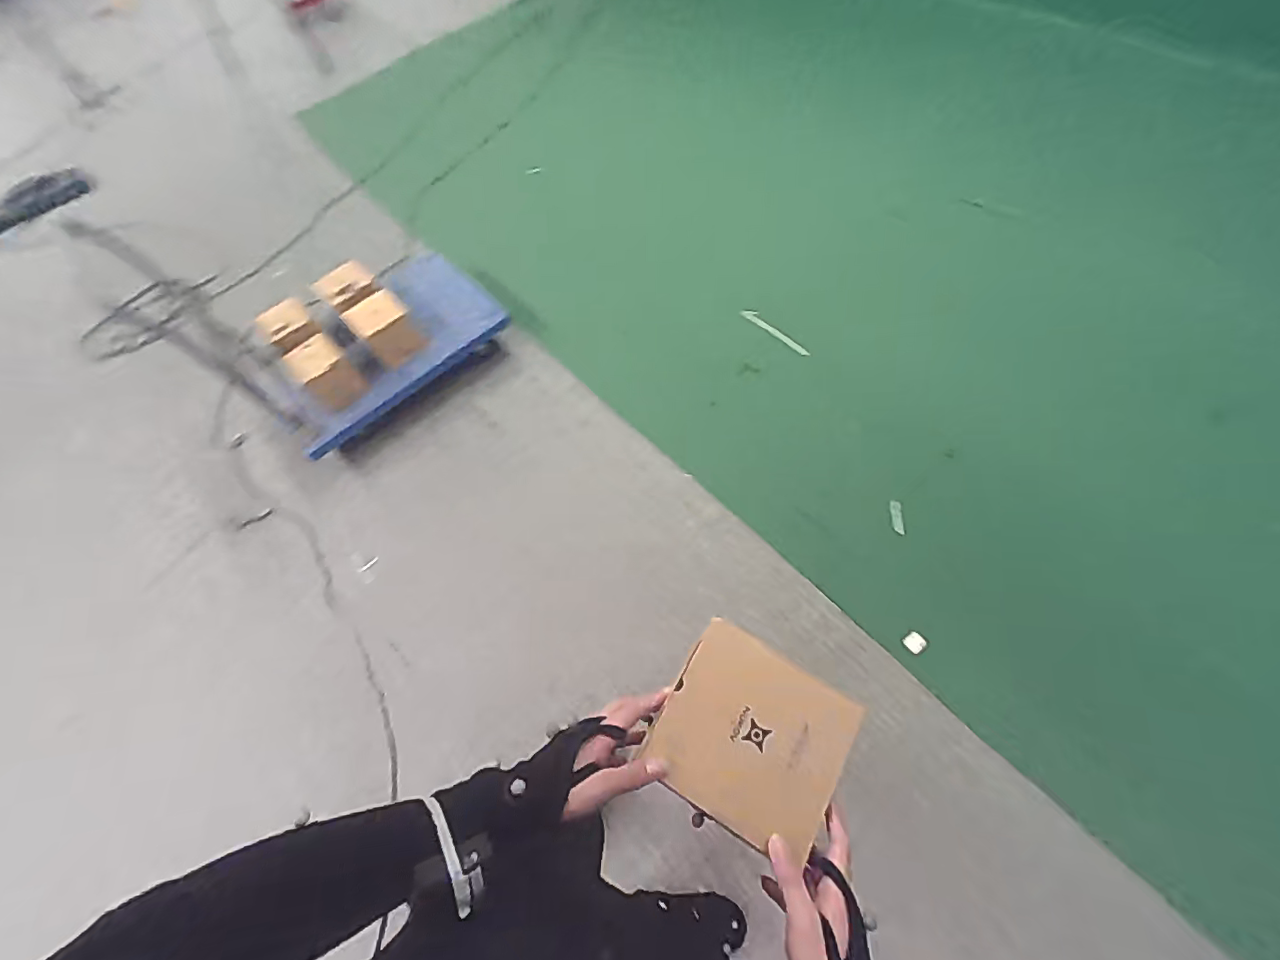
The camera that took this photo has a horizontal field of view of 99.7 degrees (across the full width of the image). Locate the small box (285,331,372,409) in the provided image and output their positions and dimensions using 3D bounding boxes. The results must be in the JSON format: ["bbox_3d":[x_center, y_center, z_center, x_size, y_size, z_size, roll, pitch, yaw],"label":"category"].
[{"bbox_3d":[-1.069,-0.372,1.867,0.168,0.176,0.179,-41,64,-14],"label":"small box"}]

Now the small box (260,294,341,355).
[{"bbox_3d":[-1.238,-0.537,1.983,0.168,0.176,0.179,-37,62,-12],"label":"small box"}]
